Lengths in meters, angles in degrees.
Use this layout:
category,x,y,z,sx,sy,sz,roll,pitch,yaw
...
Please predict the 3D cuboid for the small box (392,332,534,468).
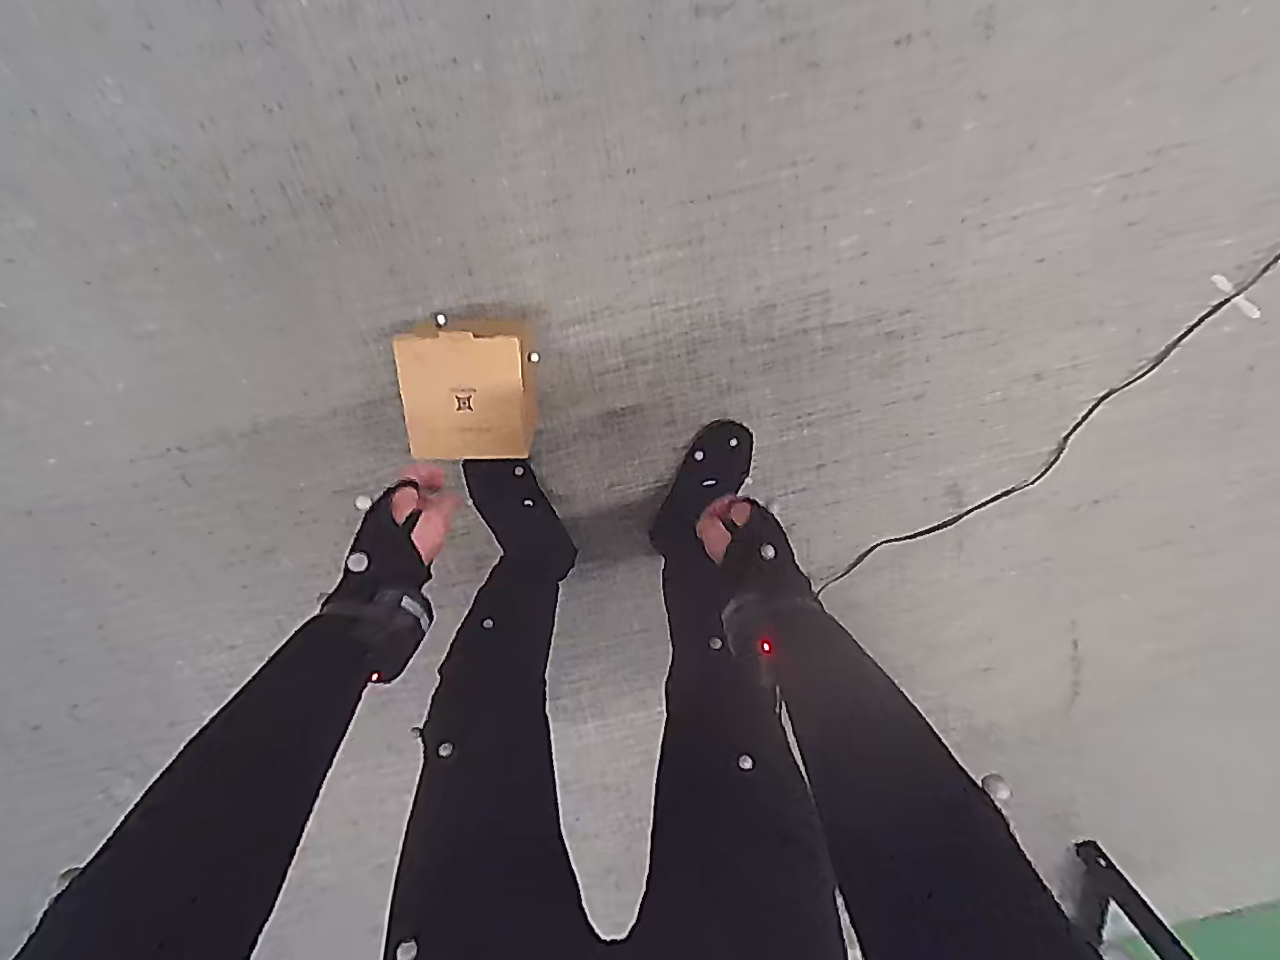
category,x,y,z,sx,sy,sz,roll,pitch,yaw
small box,-0.252,-0.126,0.811,0.168,0.176,0.179,-1,111,-5
